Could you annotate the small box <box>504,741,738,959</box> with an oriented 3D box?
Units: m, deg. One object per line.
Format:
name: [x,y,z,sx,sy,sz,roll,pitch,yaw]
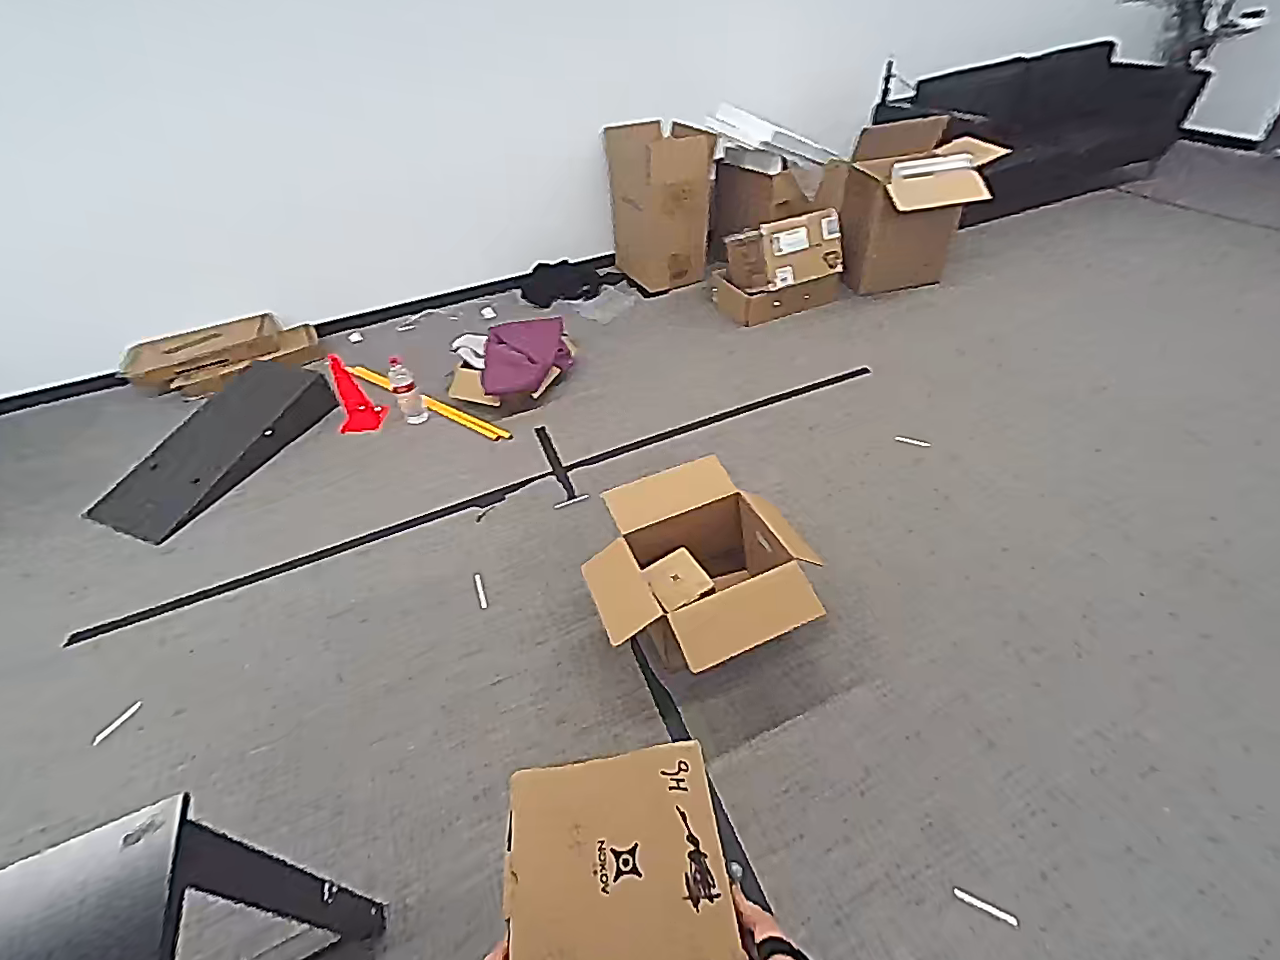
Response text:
small box: [-0.015,0.366,0.498,0.179,0.176,0.168,-9,46,-2]
